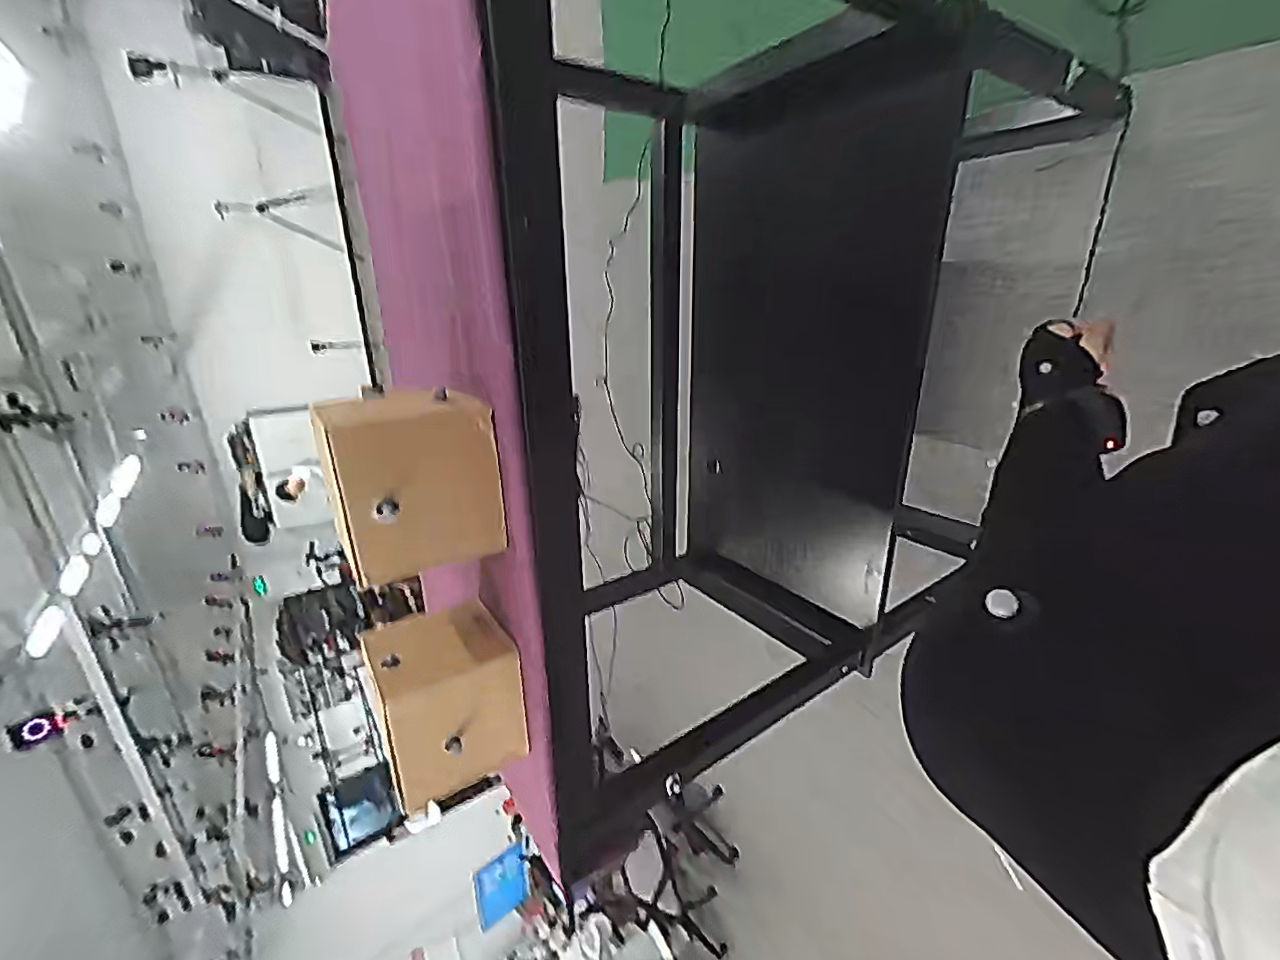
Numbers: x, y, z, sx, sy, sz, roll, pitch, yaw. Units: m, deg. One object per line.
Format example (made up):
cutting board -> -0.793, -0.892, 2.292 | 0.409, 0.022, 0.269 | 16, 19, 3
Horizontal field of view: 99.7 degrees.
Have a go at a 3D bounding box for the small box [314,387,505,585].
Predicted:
small box -> -0.269, -0.007, 0.642 | 0.168, 0.176, 0.179 | 24, 121, 52

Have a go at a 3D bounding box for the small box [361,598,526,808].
small box -> -0.266, 0.292, 0.746 | 0.168, 0.176, 0.179 | 23, 121, 52
